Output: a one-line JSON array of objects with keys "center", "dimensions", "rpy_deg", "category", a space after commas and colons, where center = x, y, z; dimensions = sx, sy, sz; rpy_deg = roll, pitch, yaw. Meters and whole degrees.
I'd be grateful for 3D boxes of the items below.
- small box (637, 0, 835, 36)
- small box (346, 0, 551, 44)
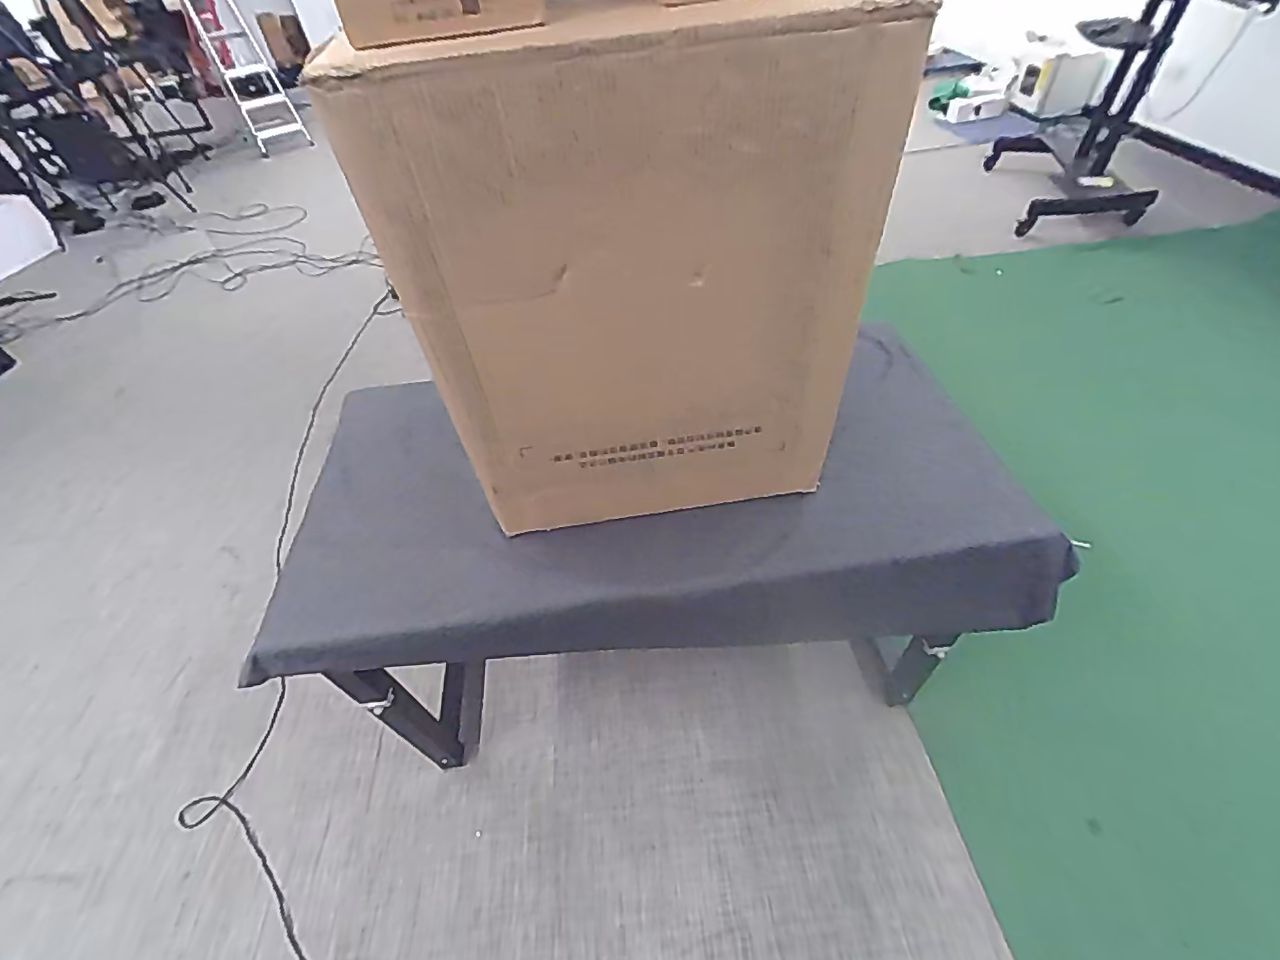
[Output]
[{"center": [0.090, -0.520, 0.473], "dimensions": [0.179, 0.176, 0.168], "rpy_deg": [-11, 50, -4], "category": "small box"}, {"center": [-0.172, -0.485, 0.446], "dimensions": [0.168, 0.176, 0.179], "rpy_deg": [-10, 51, -3], "category": "small box"}]
